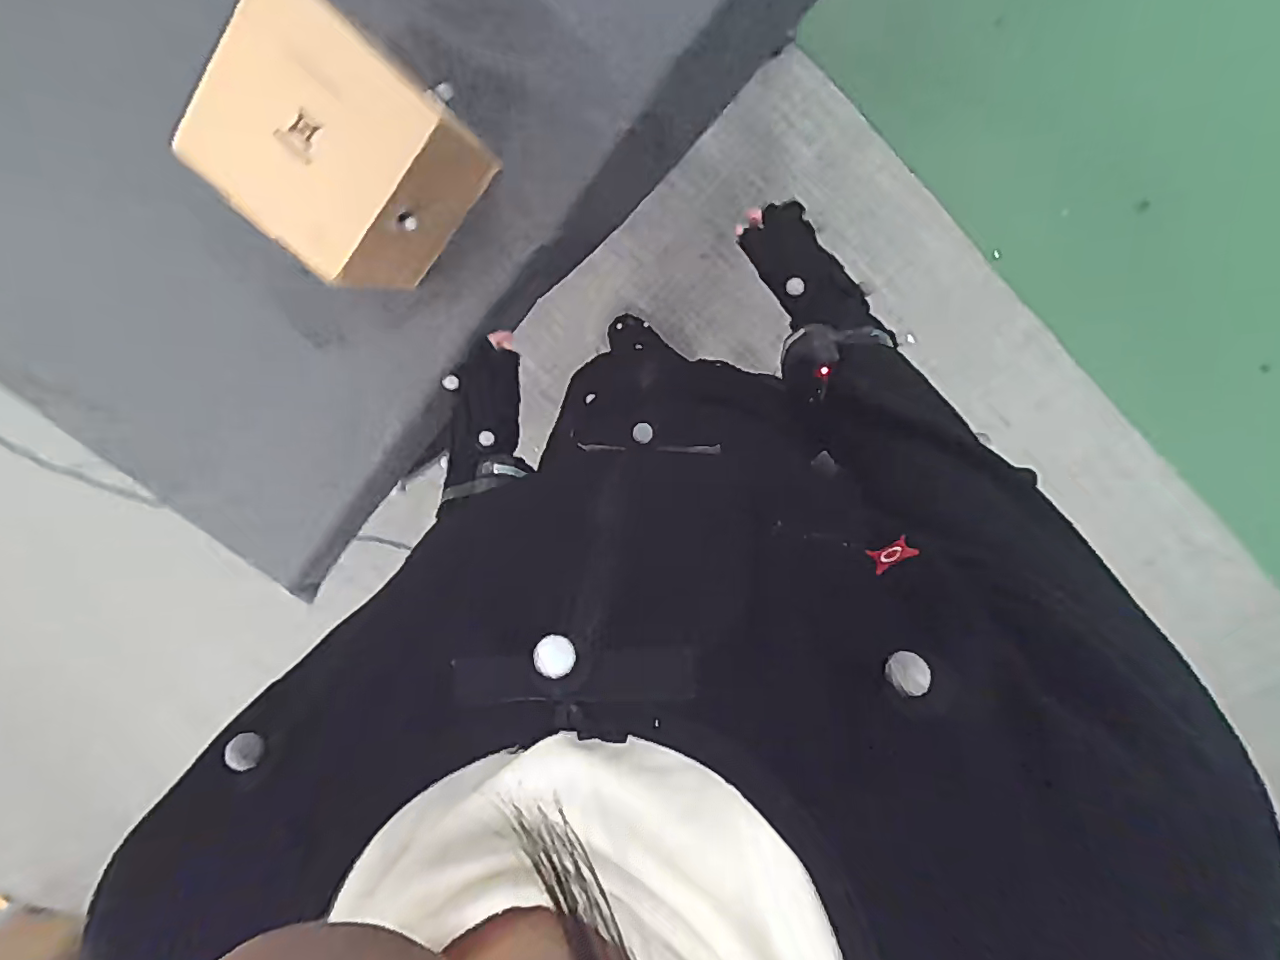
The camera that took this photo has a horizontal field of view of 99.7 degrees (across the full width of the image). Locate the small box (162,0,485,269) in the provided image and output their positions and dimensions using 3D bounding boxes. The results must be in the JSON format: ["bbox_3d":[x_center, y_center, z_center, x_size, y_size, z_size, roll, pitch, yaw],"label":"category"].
[{"bbox_3d":[-0.276,-0.321,0.513,0.168,0.176,0.179,41,106,-11],"label":"small box"}]
